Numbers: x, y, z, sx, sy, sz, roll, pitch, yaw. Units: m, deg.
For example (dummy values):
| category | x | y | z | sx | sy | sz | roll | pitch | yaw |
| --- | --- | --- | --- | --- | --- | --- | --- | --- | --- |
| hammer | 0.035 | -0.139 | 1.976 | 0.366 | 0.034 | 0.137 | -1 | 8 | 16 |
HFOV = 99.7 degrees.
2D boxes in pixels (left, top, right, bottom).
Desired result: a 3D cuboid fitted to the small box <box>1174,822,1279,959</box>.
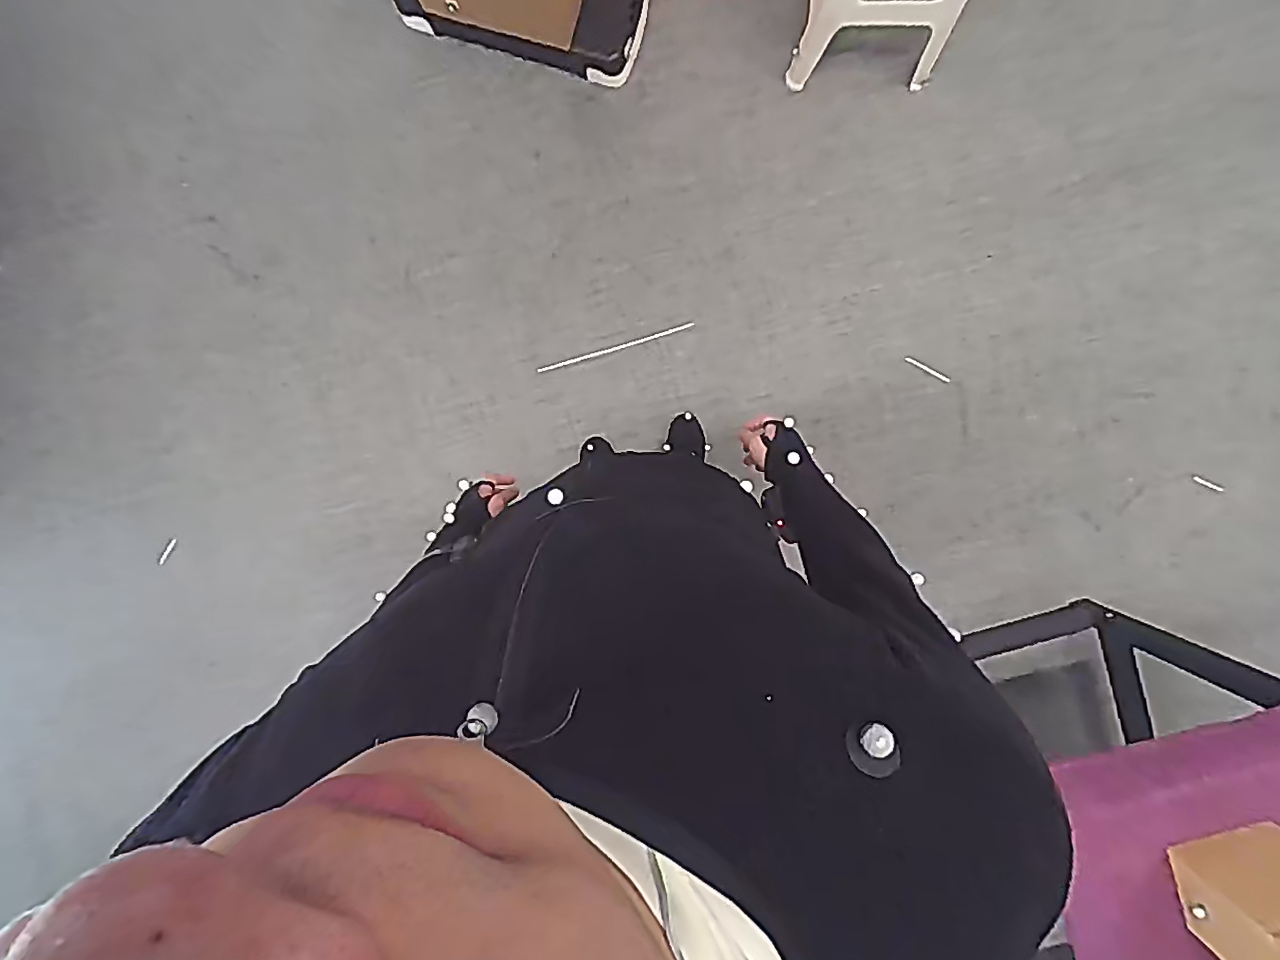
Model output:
| category | x | y | z | sx | sy | sz | roll | pitch | yaw |
| --- | --- | --- | --- | --- | --- | --- | --- | --- | --- |
| small box | 1.015 | 0.680 | 0.848 | 0.179 | 0.176 | 0.168 | -19 | 94 | 4 |
